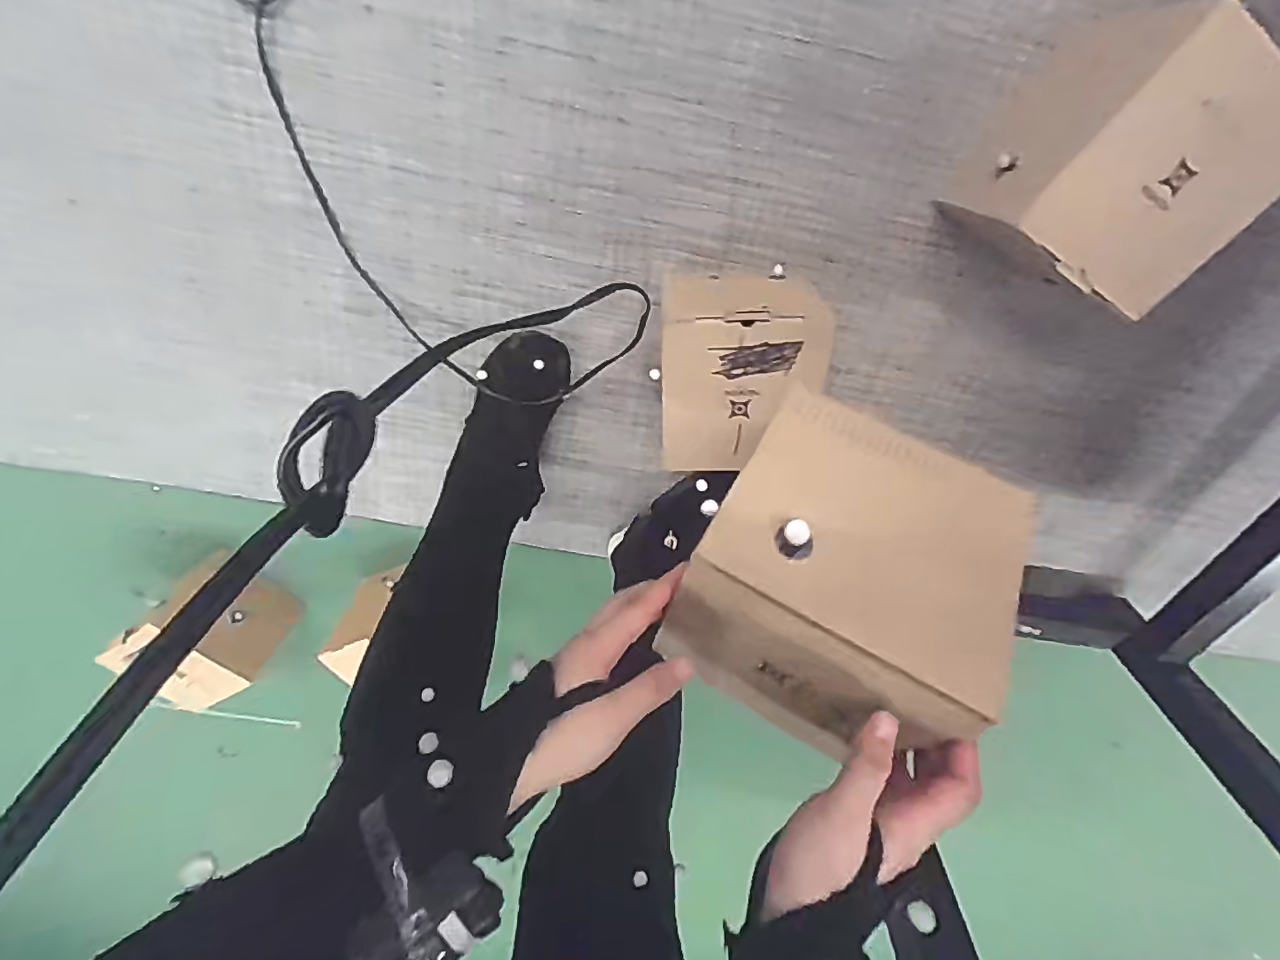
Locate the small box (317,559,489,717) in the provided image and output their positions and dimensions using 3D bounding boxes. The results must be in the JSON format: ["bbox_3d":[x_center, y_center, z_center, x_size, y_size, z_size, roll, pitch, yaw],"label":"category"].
[{"bbox_3d":[-0.381,0.264,0.910,0.168,0.176,0.179,-20,120,16],"label":"small box"}]

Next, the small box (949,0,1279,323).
[{"bbox_3d":[0.428,-0.283,0.505,0.168,0.176,0.179,26,120,-16],"label":"small box"}]
